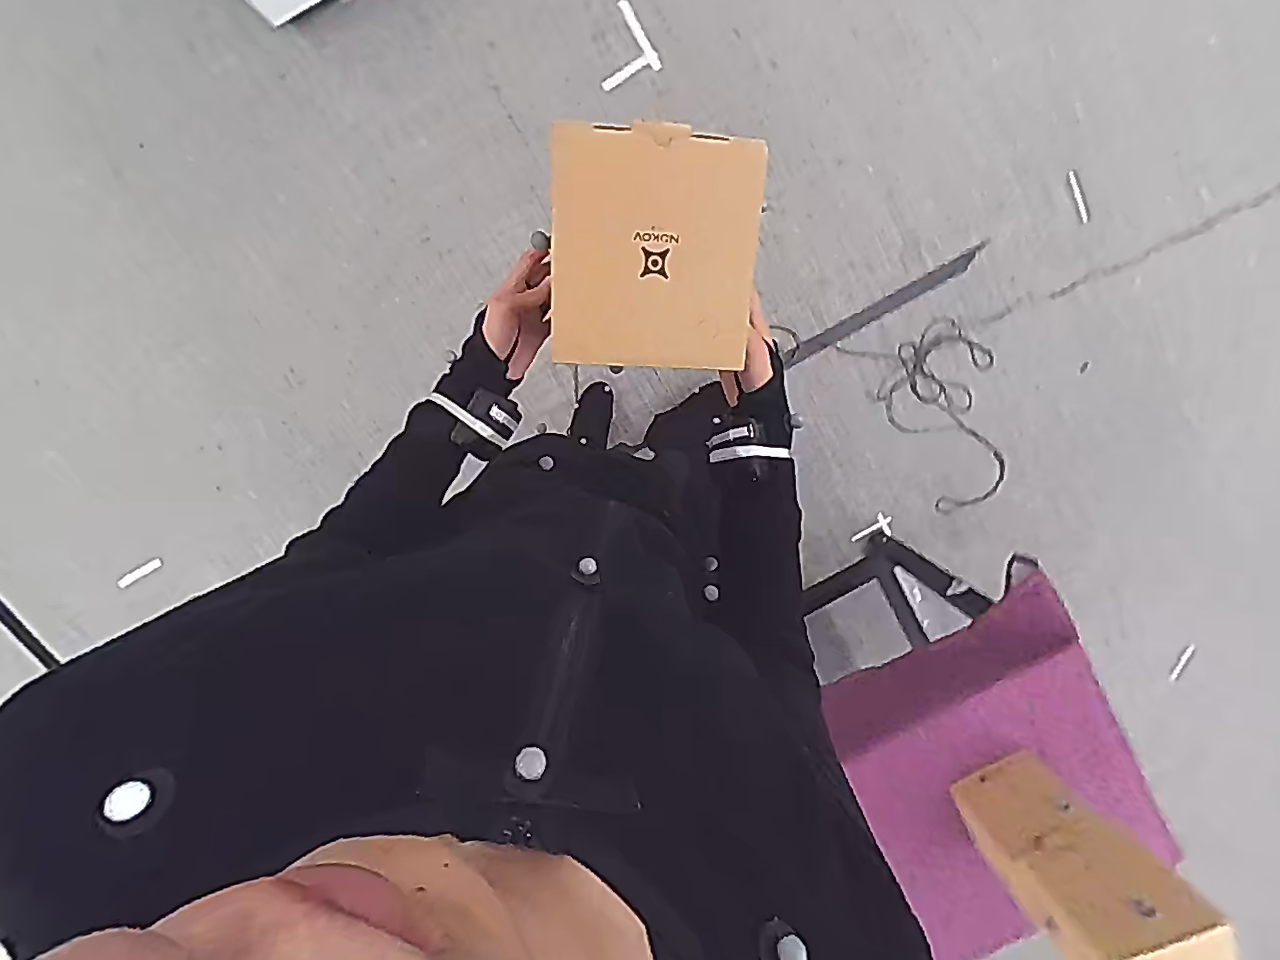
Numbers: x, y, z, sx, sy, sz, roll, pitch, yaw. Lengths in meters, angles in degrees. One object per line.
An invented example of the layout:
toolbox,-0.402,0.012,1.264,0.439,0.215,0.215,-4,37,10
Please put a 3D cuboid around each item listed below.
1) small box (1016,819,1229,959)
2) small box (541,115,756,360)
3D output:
small box,0.730,0.665,0.827,0.179,0.176,0.168,-22,103,2
small box,-0.003,-0.210,0.505,0.168,0.176,0.179,-1,108,-7
